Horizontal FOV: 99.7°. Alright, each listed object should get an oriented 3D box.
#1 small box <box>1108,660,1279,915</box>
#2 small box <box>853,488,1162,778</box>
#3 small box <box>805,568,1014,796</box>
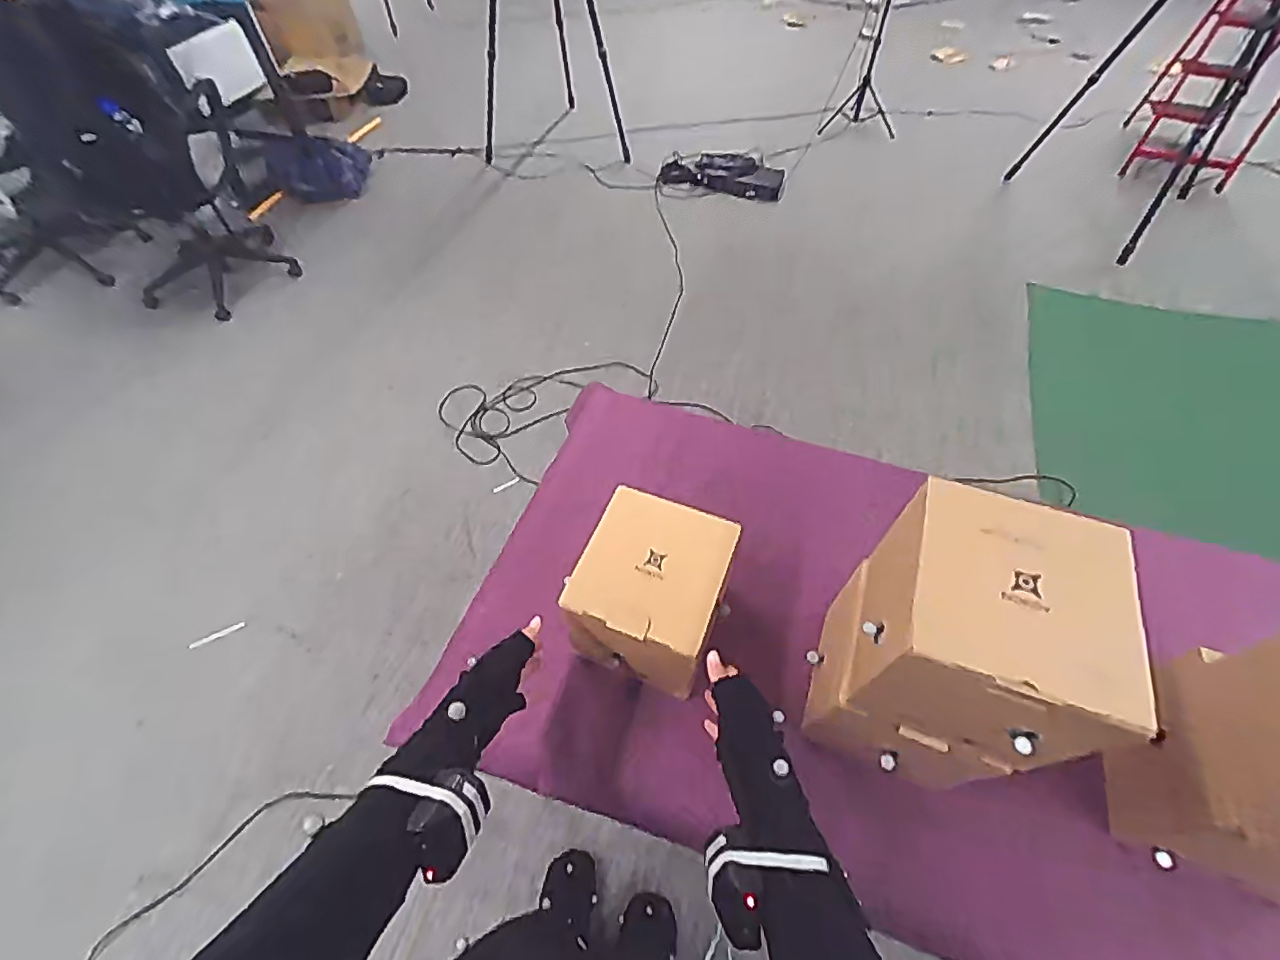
[{"bbox_3d":[0.627,0.320,0.554,0.168,0.176,0.179,20,57,13],"label":"small box"},{"bbox_3d":[0.307,0.142,0.489,0.168,0.176,0.179,18,56,13],"label":"small box"},{"bbox_3d":[0.301,0.237,0.622,0.168,0.176,0.179,19,57,13],"label":"small box"}]
